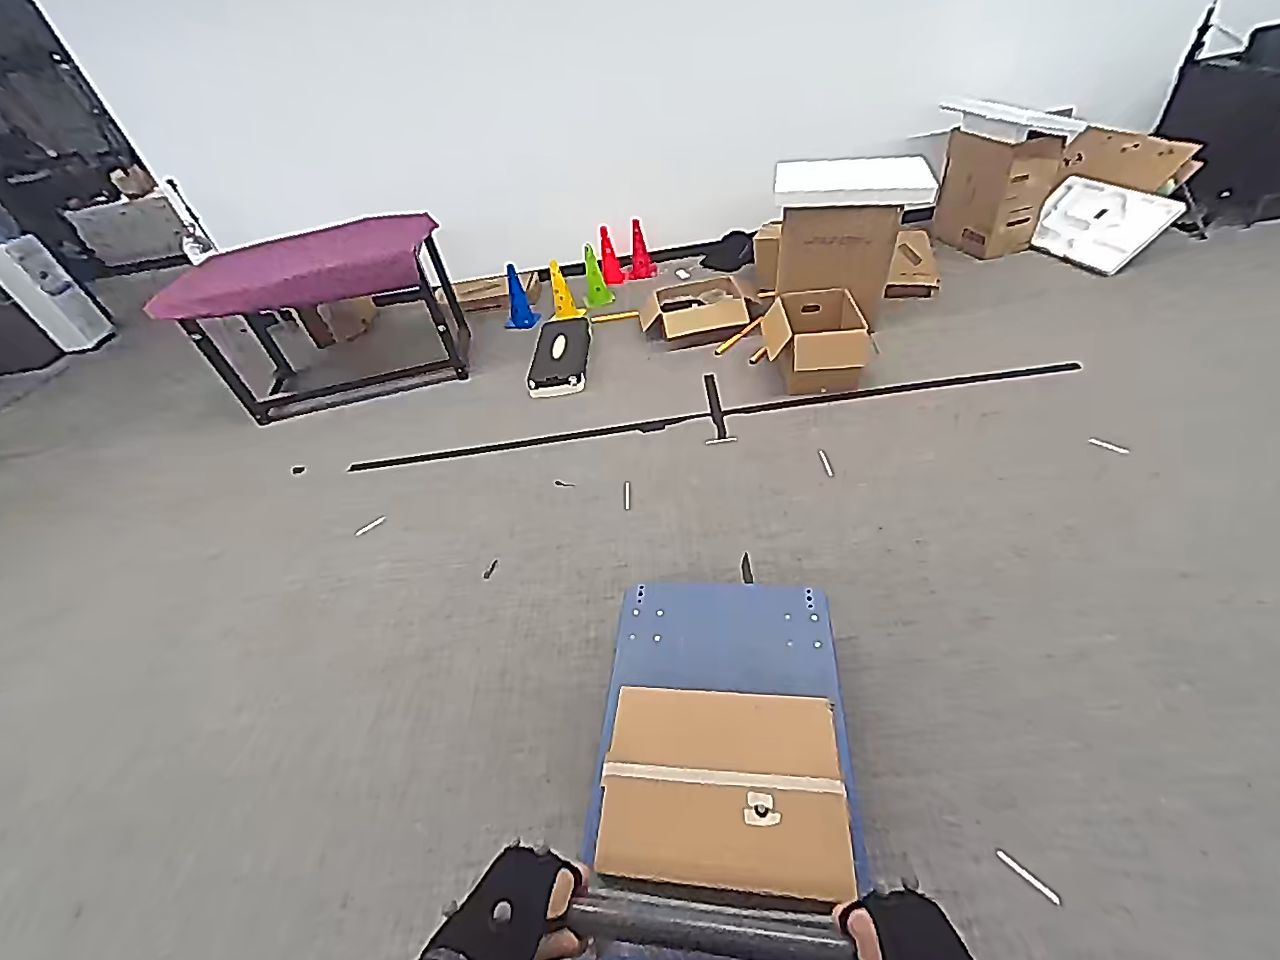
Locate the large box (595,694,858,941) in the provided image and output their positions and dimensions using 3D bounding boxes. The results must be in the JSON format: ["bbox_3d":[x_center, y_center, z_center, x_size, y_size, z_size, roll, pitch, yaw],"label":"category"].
[{"bbox_3d":[0.154,0.632,1.023,0.408,0.320,0.320,0,44,9],"label":"large box"}]
